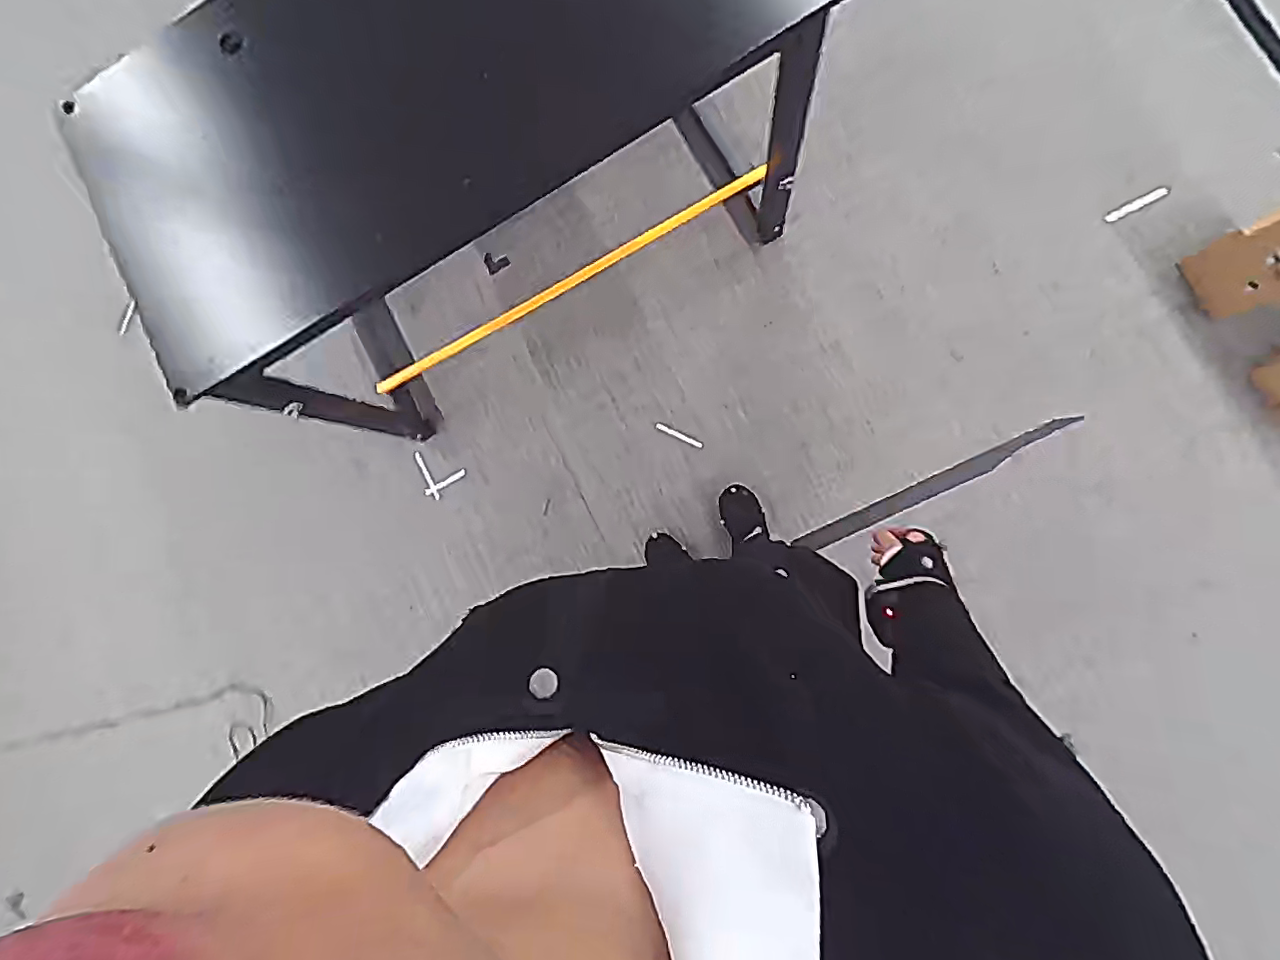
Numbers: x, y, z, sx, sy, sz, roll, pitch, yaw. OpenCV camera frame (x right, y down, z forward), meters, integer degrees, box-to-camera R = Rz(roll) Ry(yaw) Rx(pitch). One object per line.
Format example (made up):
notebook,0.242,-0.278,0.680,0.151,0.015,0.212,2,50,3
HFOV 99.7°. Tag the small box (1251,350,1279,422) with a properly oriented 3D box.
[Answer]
small box,1.546,-0.238,1.203,0.179,0.176,0.168,-30,84,7

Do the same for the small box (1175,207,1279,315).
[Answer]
small box,1.402,-0.498,1.230,0.168,0.176,0.179,-26,84,6

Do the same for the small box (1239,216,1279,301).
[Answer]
small box,1.382,-0.487,1.068,0.179,0.176,0.168,-27,84,8
